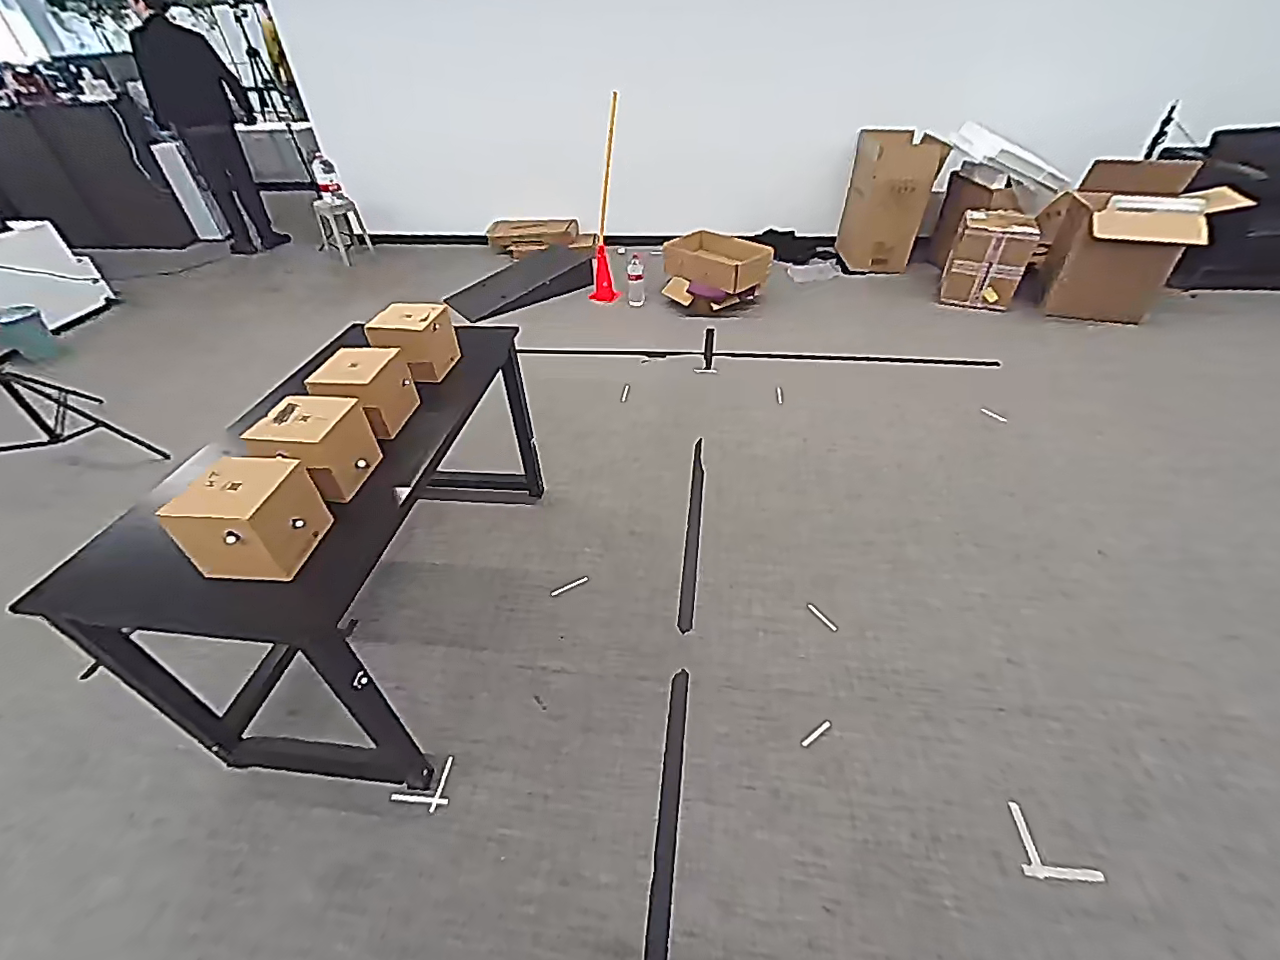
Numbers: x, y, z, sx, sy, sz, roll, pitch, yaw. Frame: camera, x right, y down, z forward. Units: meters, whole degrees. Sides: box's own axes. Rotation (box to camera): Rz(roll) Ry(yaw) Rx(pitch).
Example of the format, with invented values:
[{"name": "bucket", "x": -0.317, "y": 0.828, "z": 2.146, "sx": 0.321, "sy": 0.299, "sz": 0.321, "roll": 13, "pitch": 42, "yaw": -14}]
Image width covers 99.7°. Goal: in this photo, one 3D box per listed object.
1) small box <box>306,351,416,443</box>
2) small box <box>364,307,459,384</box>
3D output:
[{"name": "small box", "x": -0.696, "y": -0.213, "z": 1.379, "sx": 0.168, "sy": 0.176, "sz": 0.179, "roll": 1, "pitch": 42, "yaw": 6}, {"name": "small box", "x": -0.659, "y": -0.392, "z": 1.580, "sx": 0.179, "sy": 0.176, "sz": 0.168, "roll": 3, "pitch": 42, "yaw": 8}]
